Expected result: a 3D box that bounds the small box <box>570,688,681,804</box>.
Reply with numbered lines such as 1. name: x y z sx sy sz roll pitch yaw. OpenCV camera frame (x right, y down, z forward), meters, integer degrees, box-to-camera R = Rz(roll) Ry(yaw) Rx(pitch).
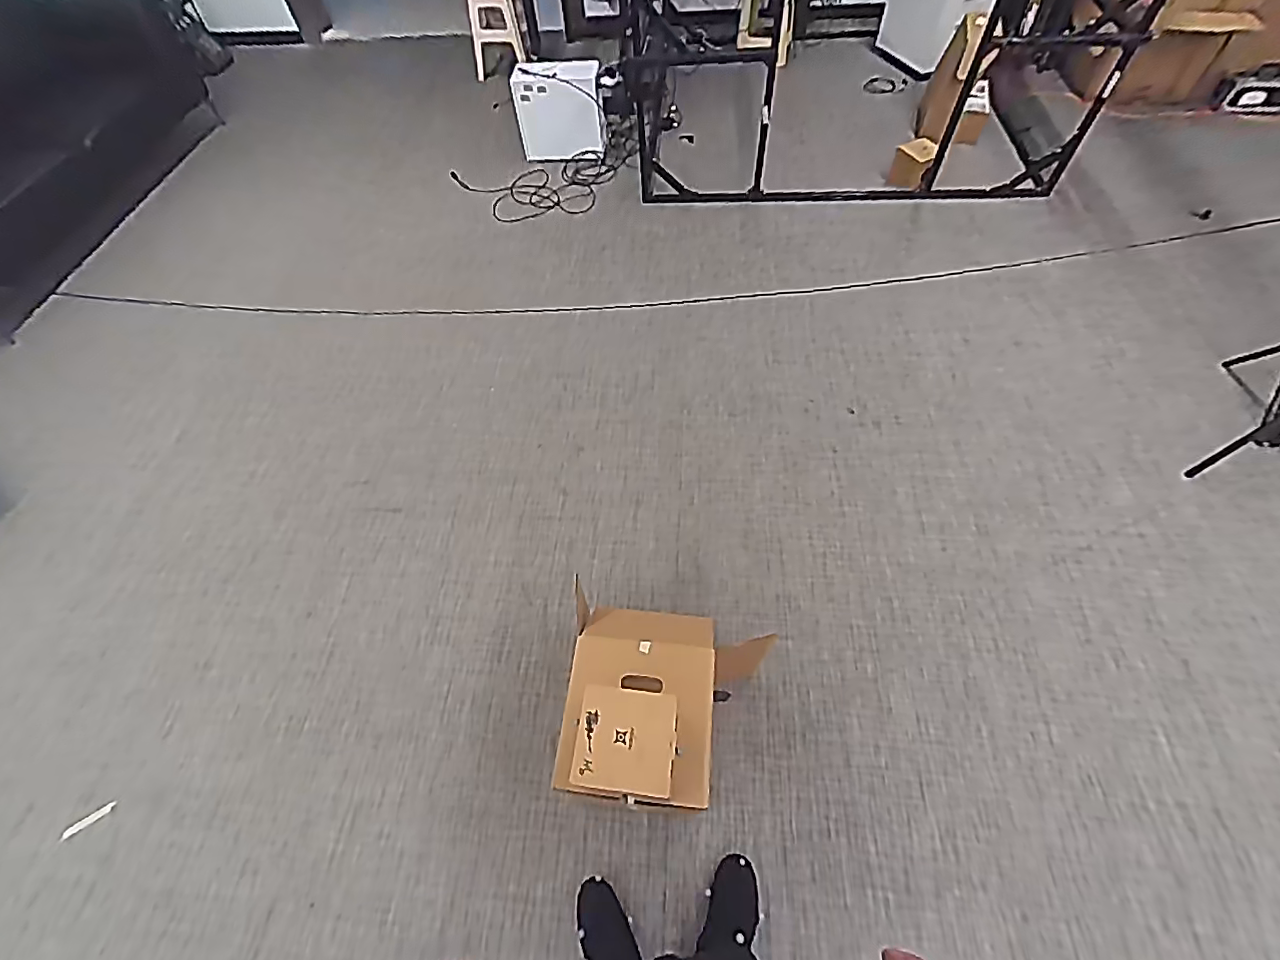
1. small box: -0.019 0.505 1.026 0.179 0.176 0.168 6 59 7
